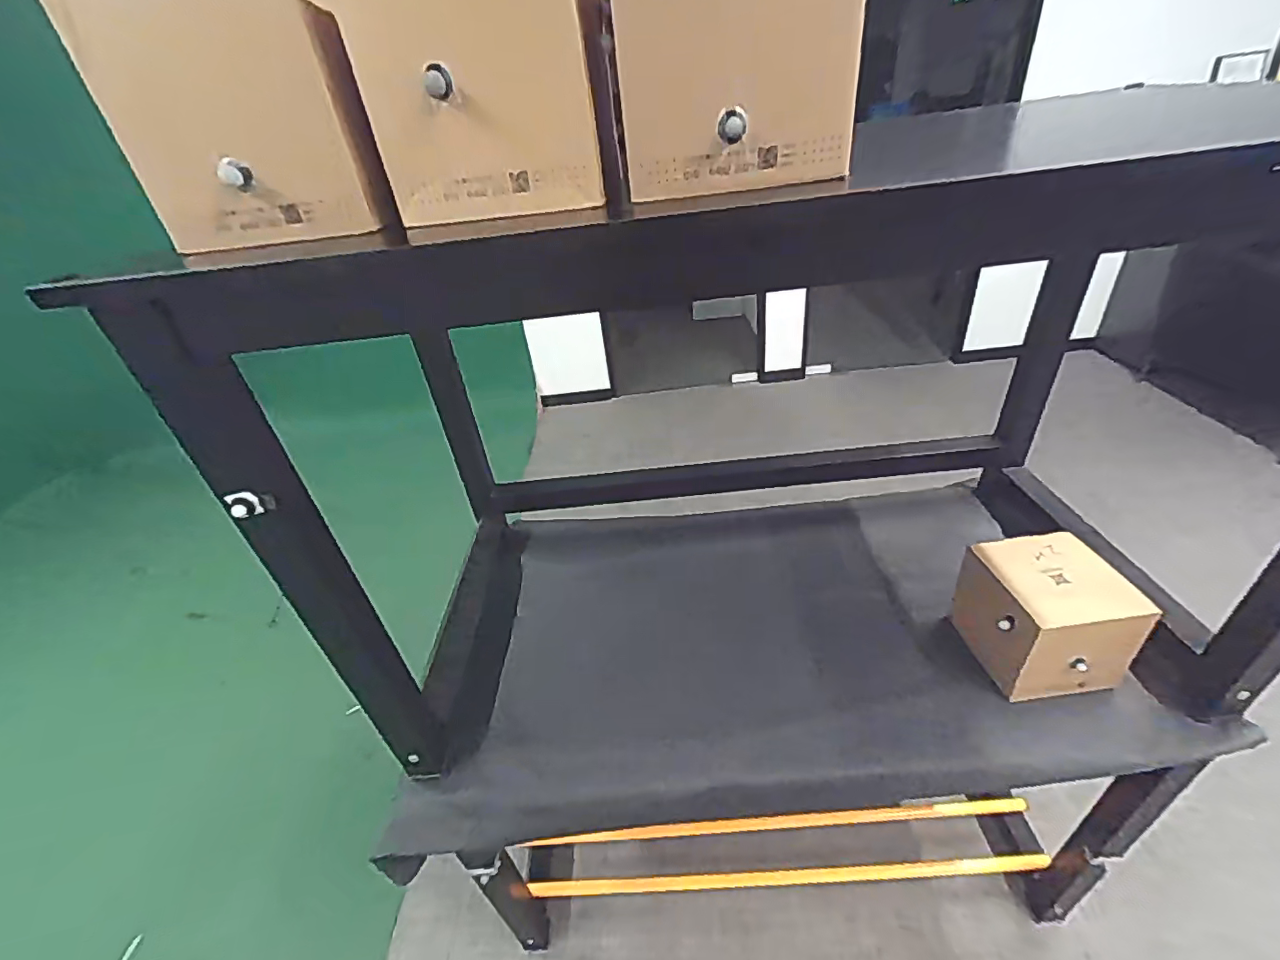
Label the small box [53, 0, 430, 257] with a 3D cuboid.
[{"bbox_3d":[-0.301,-0.301,0.465,0.168,0.176,0.179,-6,36,1],"label":"small box"}]

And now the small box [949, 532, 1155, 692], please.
[{"bbox_3d":[0.619,0.208,0.841,0.168,0.176,0.179,-8,34,0],"label":"small box"}]
